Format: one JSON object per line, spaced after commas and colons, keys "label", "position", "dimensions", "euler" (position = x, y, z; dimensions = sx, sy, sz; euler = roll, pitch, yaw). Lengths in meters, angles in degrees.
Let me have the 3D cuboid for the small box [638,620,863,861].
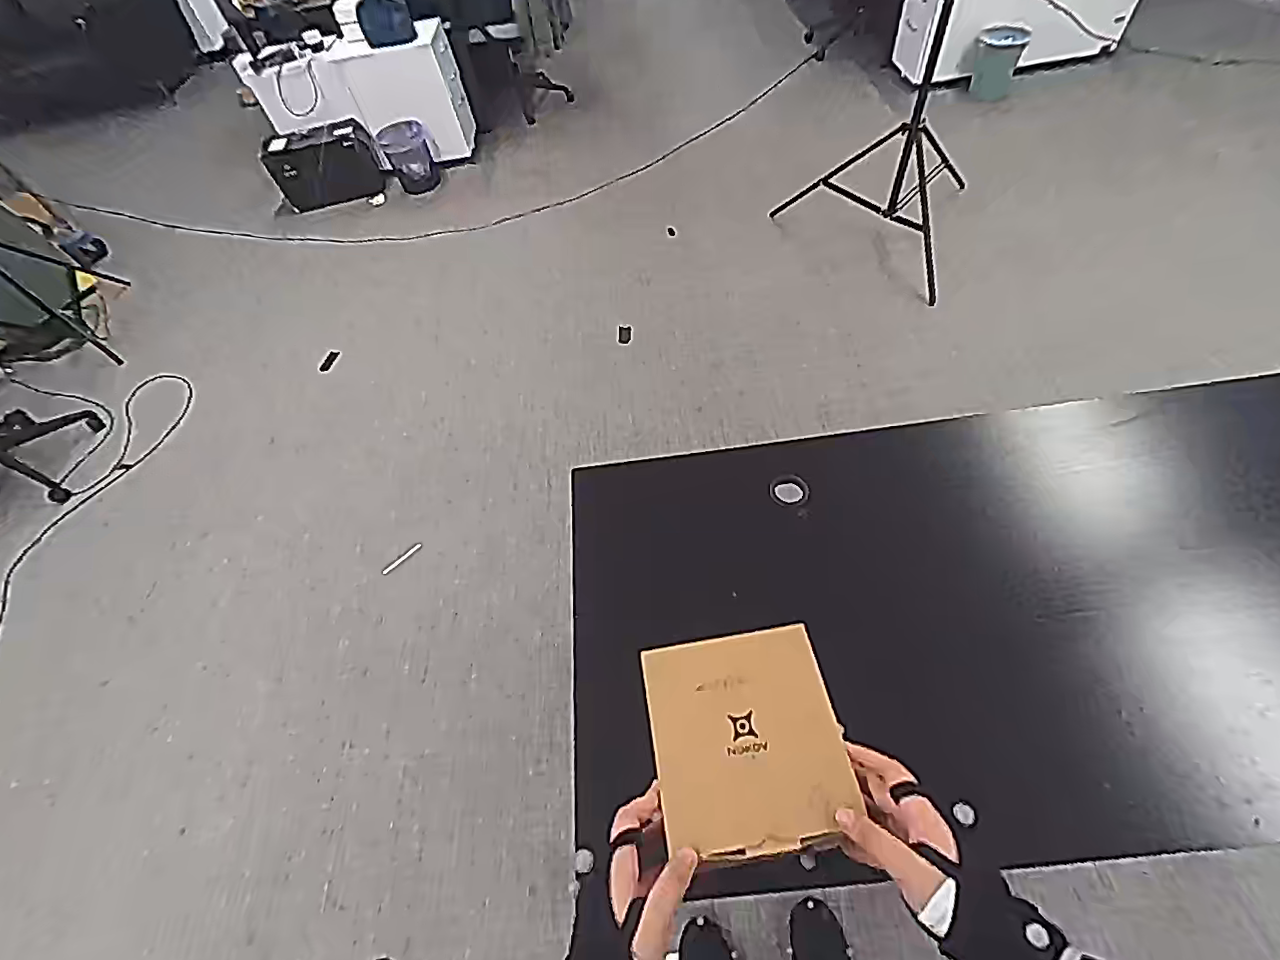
{"label": "small box", "position": [0.097, 0.267, 0.544], "dimensions": [0.168, 0.176, 0.179], "euler": [-10, 51, -1]}
